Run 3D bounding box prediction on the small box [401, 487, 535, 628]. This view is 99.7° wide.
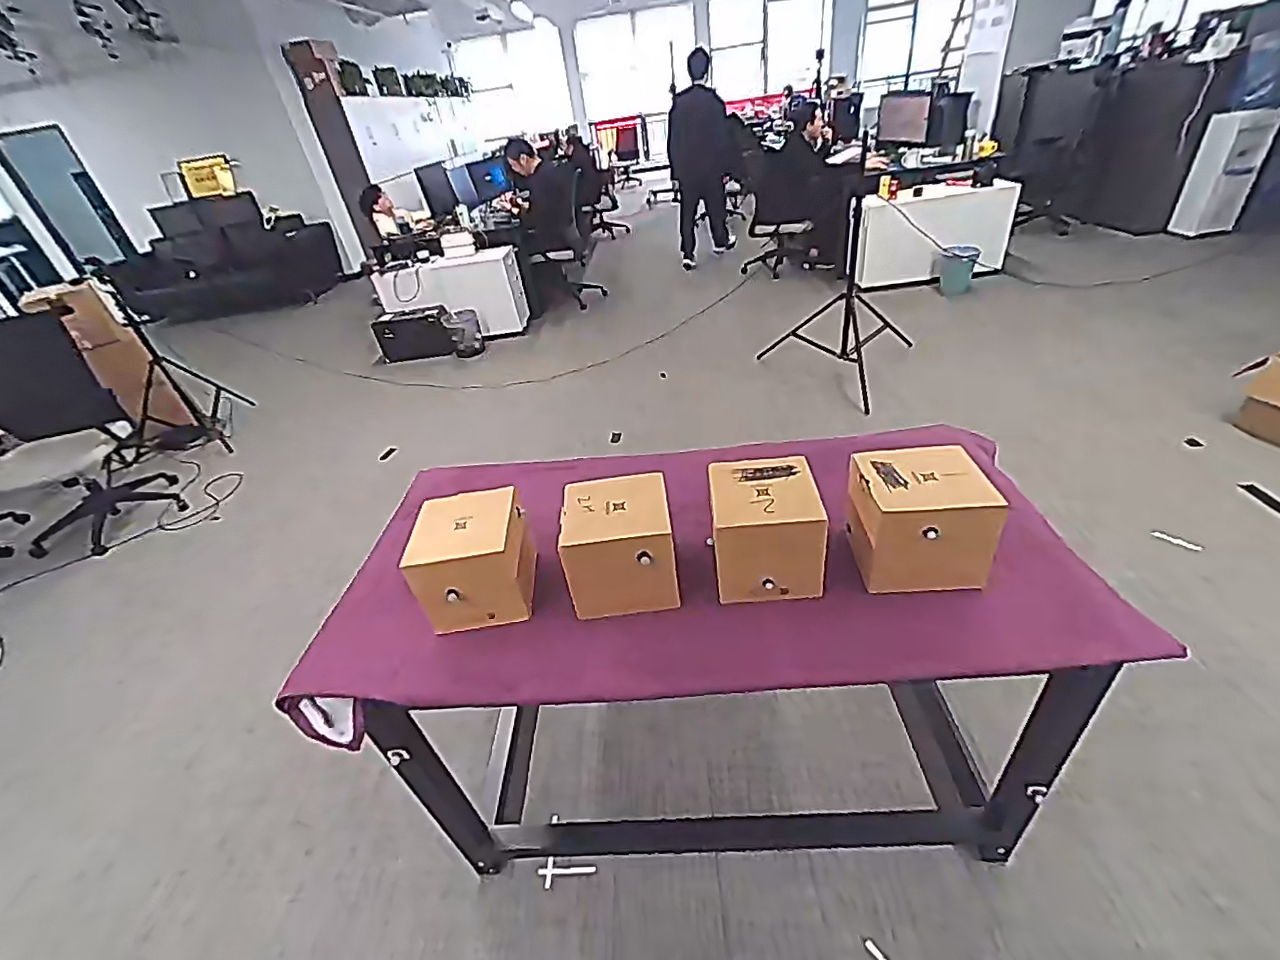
[{"bbox_3d":[-0.286,0.140,0.946,0.168,0.176,0.179,-10,34,0],"label":"small box"}]

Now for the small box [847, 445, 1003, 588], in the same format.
[{"bbox_3d":[0.444,0.061,0.879,0.179,0.176,0.168,-3,34,7],"label":"small box"}]
